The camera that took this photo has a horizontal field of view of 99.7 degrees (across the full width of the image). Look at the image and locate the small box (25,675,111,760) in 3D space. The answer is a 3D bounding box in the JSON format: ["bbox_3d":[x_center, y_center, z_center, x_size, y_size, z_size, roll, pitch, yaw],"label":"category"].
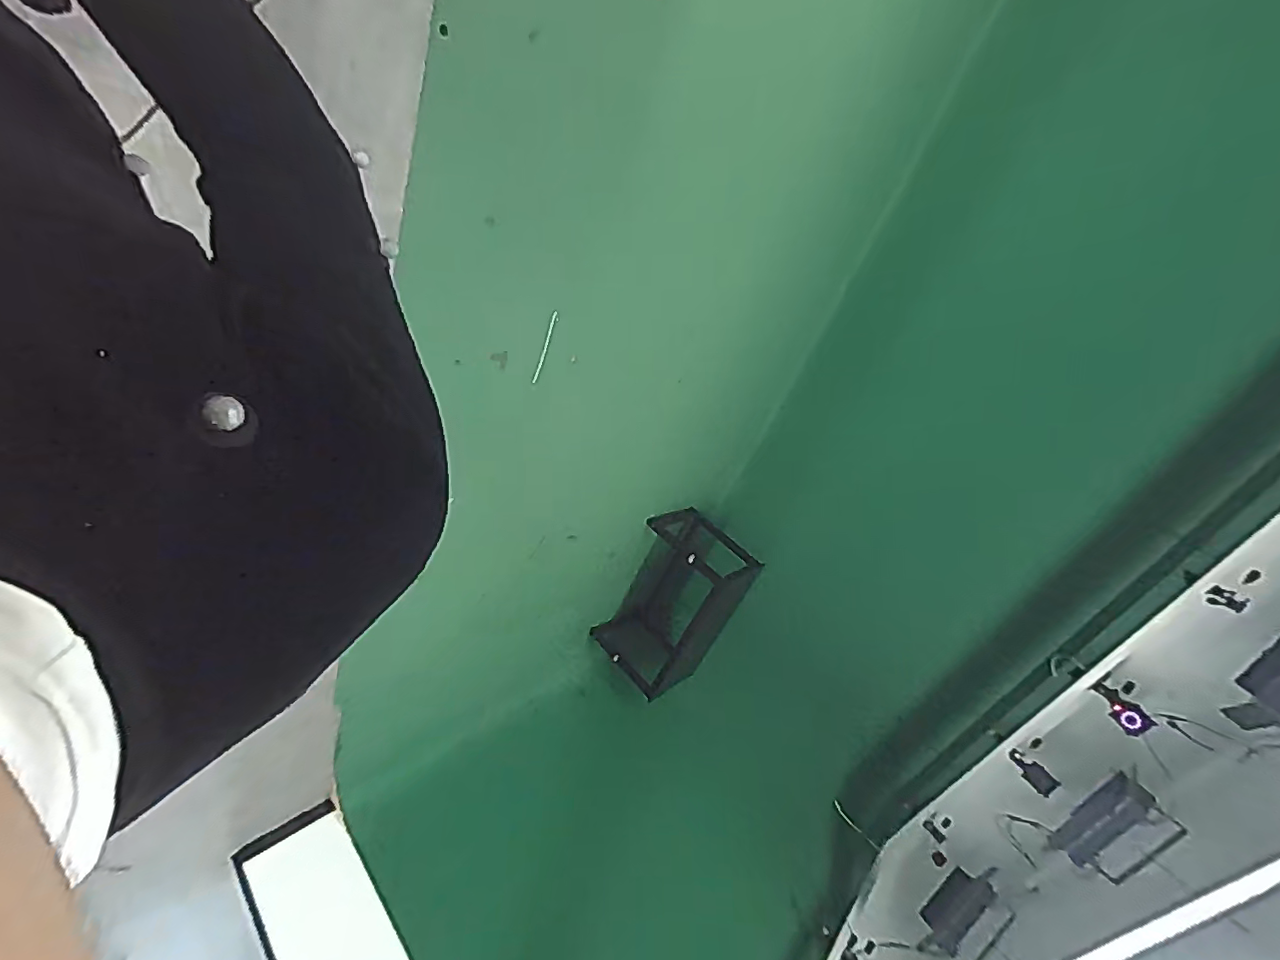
[{"bbox_3d":[-1.688,0.714,1.597,0.168,0.176,0.179,-4,127,-49],"label":"small box"}]

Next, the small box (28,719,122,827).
[{"bbox_3d":[-1.586,0.812,1.516,0.168,0.176,0.179,0,124,-52],"label":"small box"}]
